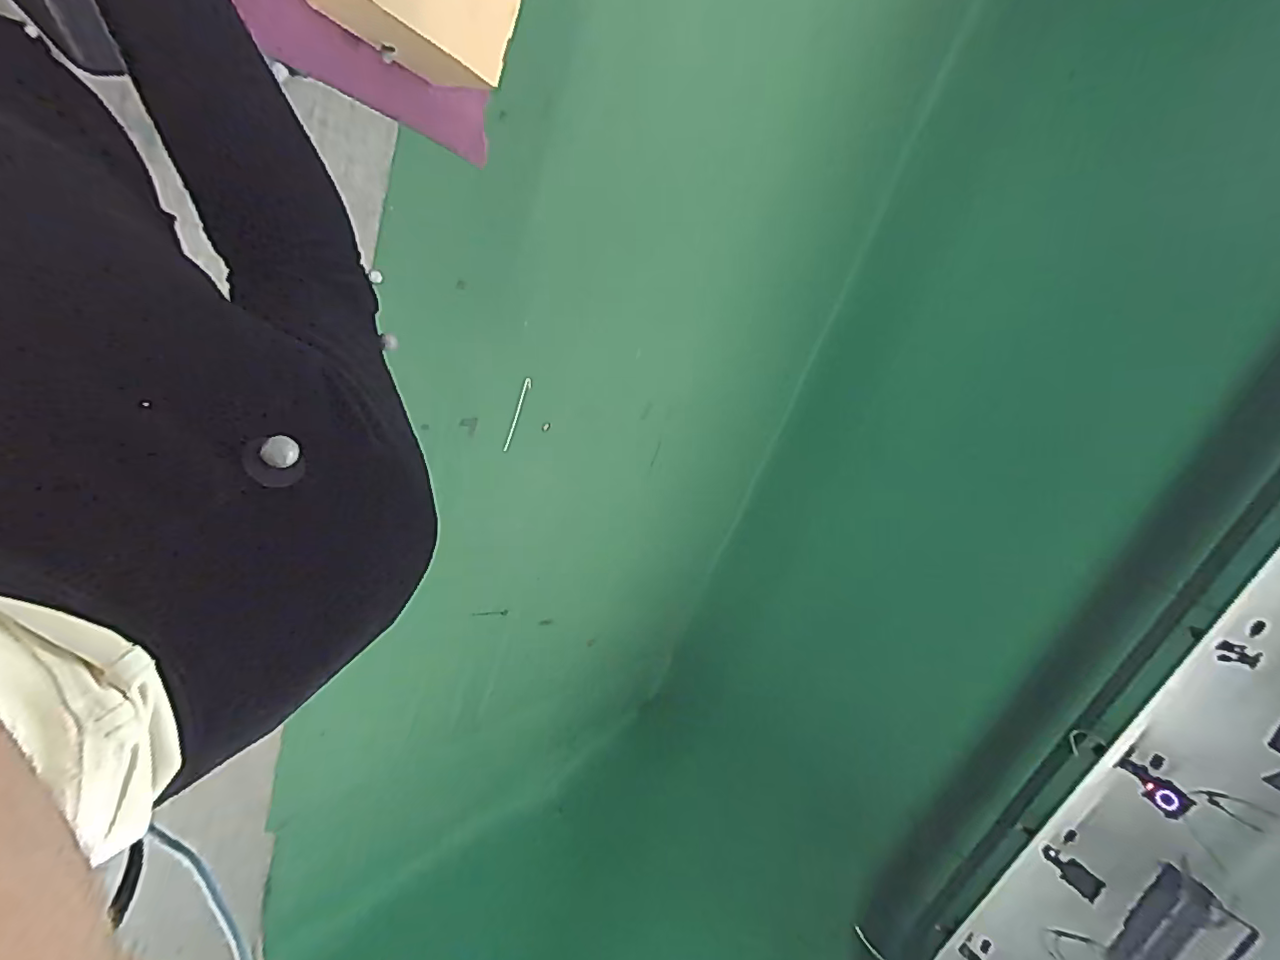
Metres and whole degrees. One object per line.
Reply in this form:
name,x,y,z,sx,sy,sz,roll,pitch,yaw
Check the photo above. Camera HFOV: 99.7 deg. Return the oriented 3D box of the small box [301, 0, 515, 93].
small box,-0.274,-0.608,0.652,0.179,0.176,0.168,0,115,-53
